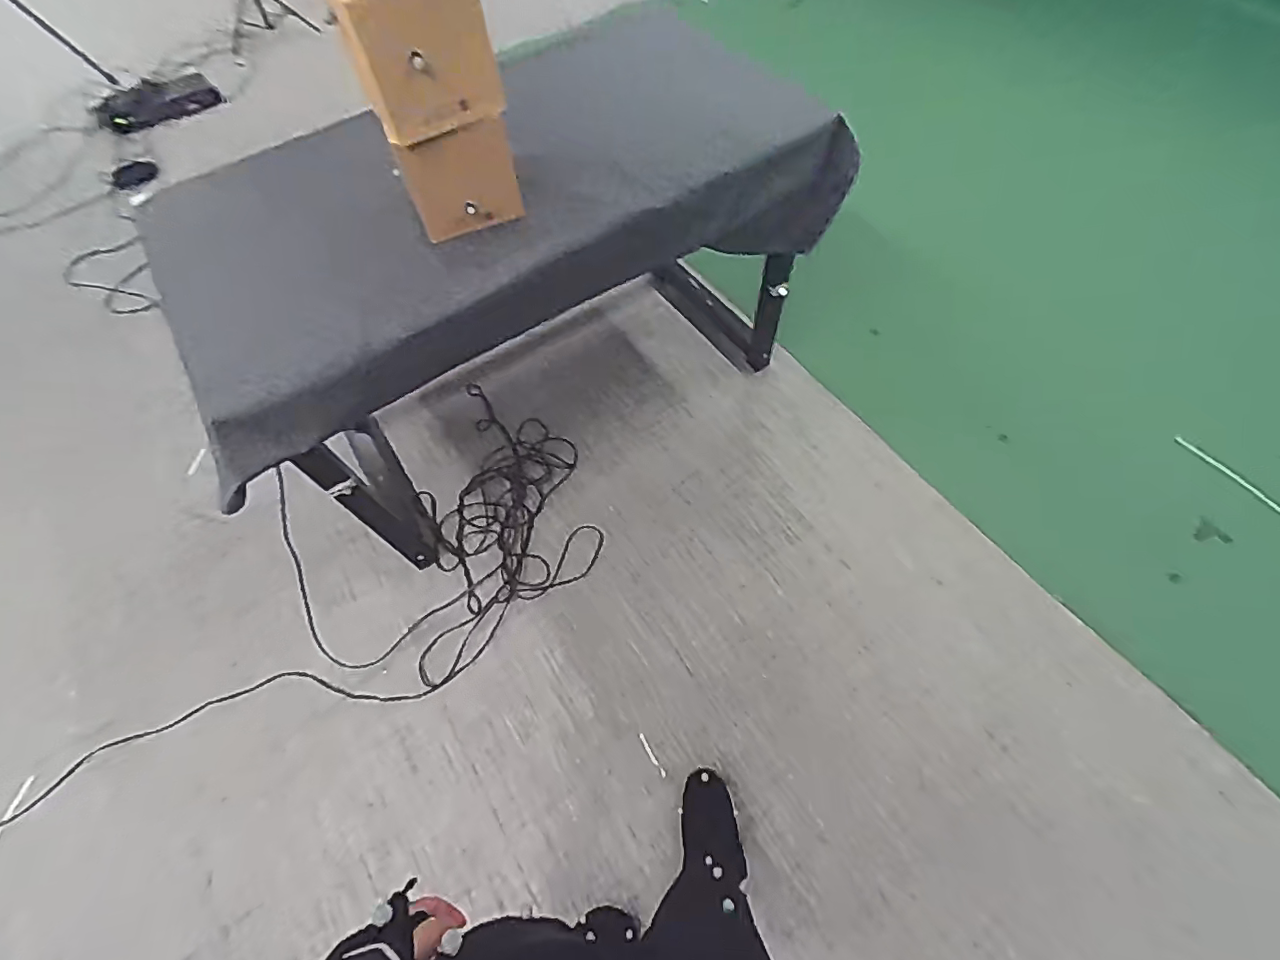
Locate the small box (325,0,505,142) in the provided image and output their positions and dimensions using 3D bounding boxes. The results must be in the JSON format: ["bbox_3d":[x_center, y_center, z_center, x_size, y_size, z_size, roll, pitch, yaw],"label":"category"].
[{"bbox_3d":[-0.308,-0.601,0.744,0.168,0.176,0.179,-29,64,-13],"label":"small box"}]
